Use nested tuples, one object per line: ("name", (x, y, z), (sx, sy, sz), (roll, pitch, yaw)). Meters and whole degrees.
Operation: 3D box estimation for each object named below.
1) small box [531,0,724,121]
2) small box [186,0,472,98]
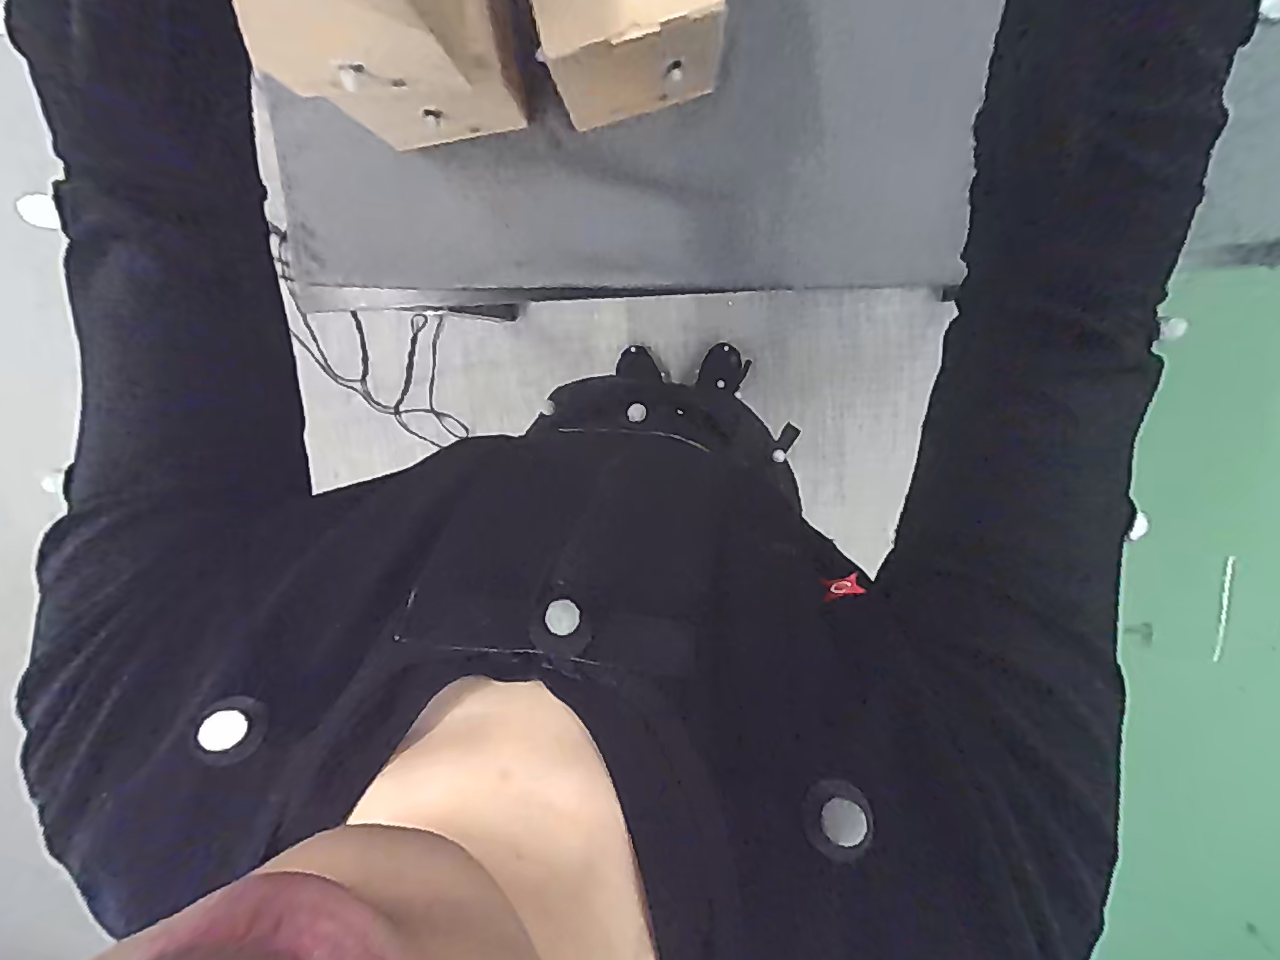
("small box", (-0.019, -0.489, 0.533), (0.168, 0.176, 0.179), (-13, 102, 5))
("small box", (-0.233, -0.414, 0.393), (0.168, 0.176, 0.179), (0, 104, 2))
